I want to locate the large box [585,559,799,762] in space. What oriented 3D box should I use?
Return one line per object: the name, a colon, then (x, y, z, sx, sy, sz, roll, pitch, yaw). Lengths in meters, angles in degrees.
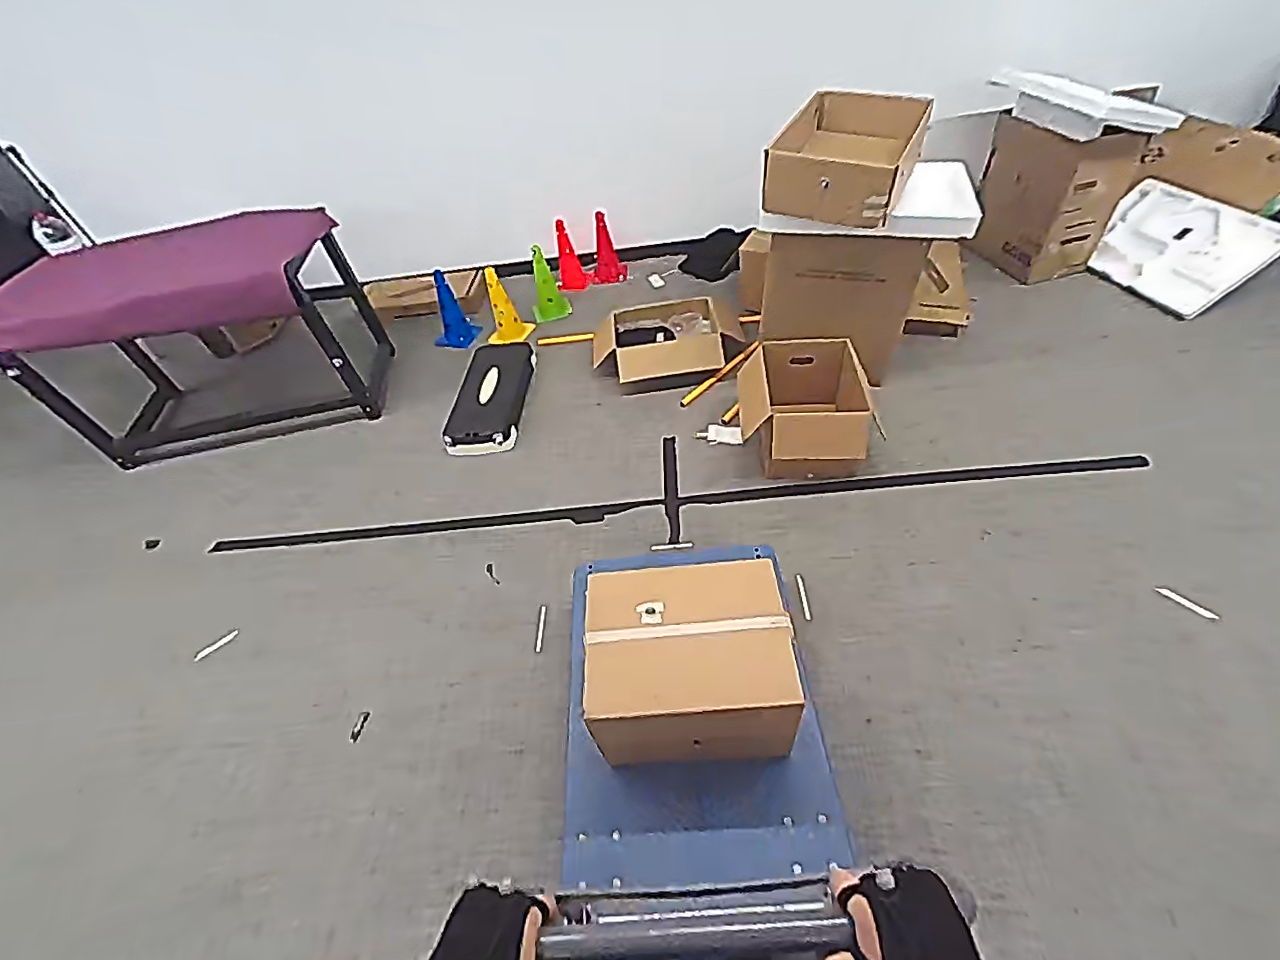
large box: (0.109, 0.408, 1.203, 0.408, 0.320, 0.320, -7, 46, 4)
